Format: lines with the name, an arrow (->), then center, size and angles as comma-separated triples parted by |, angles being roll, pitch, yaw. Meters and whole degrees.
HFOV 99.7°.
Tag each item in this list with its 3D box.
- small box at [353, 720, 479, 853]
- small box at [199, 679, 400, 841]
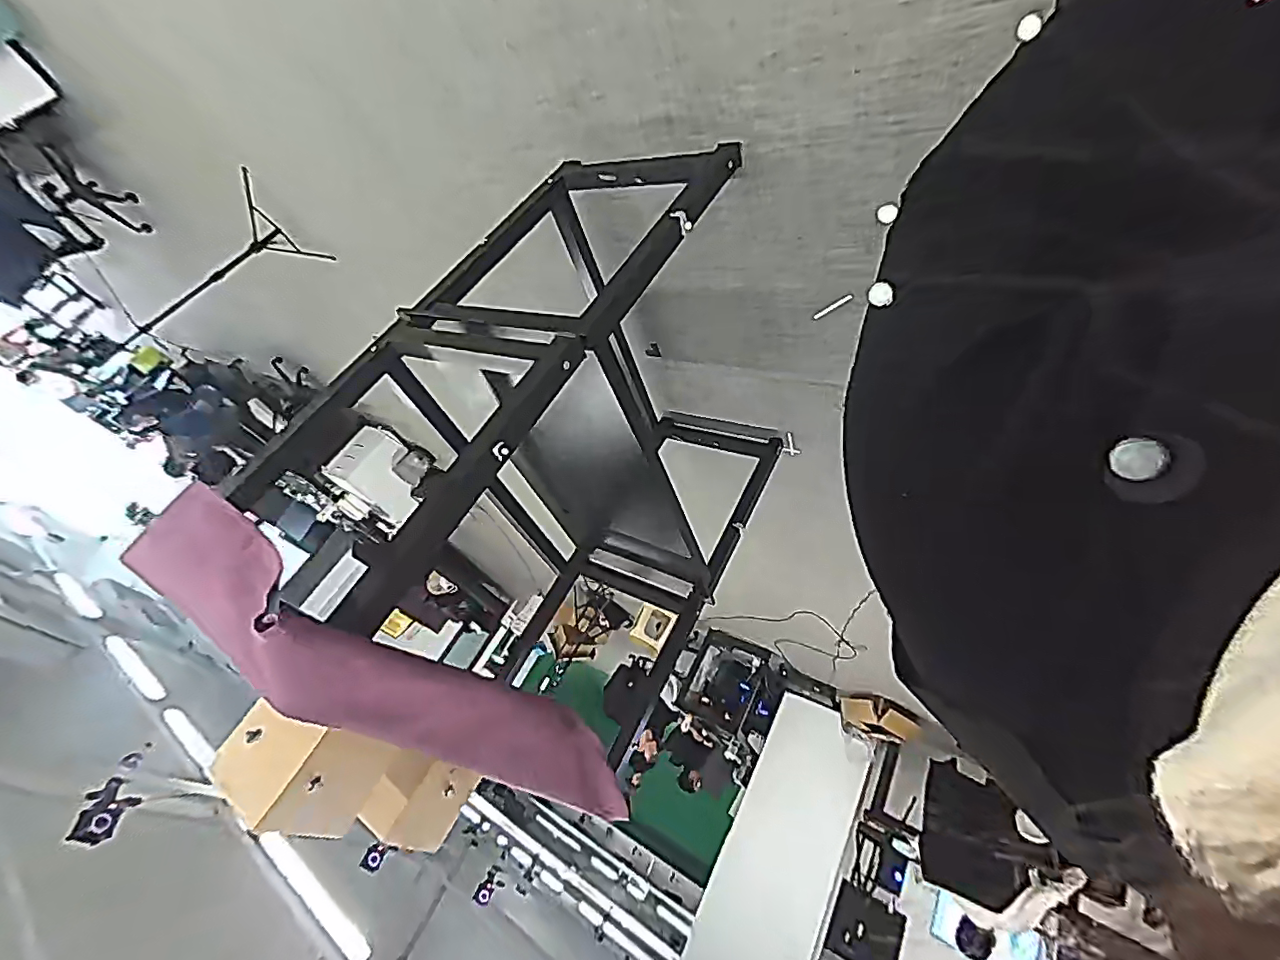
small box -> -0.465, 0.609, 1.092 | 0.179, 0.176, 0.168 | 15, 151, 33
small box -> -0.537, 0.446, 0.873 | 0.168, 0.176, 0.179 | 18, 153, 29
